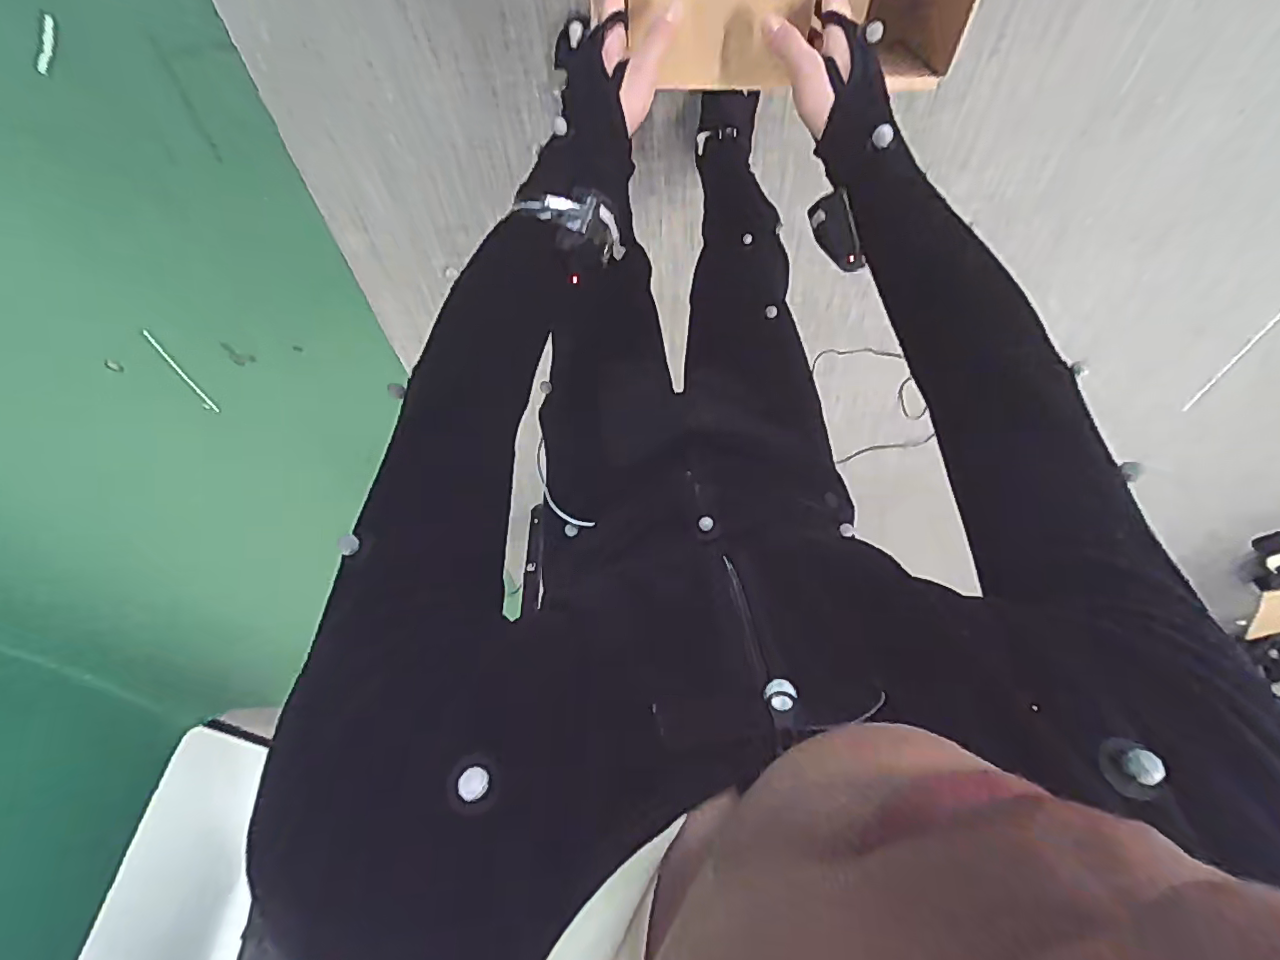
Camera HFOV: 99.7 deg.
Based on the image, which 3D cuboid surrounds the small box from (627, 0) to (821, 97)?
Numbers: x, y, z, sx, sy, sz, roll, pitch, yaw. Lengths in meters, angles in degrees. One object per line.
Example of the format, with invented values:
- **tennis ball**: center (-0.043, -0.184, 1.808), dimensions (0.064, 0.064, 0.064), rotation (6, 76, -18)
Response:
- **small box**: center (0.072, -0.481, 0.486), dimensions (0.168, 0.176, 0.179), rotation (0, 145, -2)
